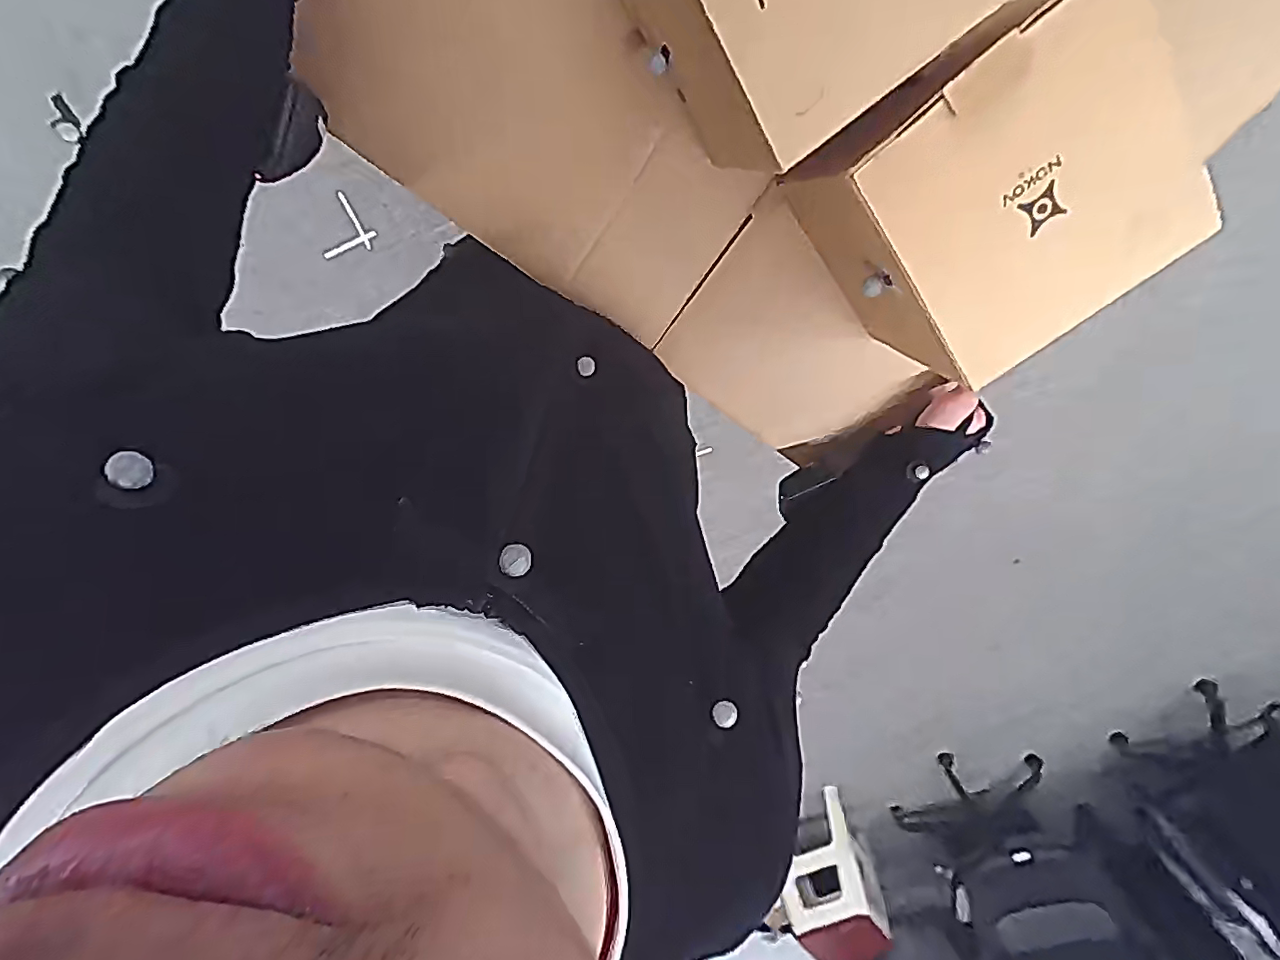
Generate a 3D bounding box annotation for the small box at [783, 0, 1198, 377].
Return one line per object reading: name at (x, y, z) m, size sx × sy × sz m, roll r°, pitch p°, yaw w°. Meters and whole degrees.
small box at (0.236, -0.213, 0.407) m, size 0.168 × 0.176 × 0.179 m, roll -38°, pitch 111°, yaw 16°
